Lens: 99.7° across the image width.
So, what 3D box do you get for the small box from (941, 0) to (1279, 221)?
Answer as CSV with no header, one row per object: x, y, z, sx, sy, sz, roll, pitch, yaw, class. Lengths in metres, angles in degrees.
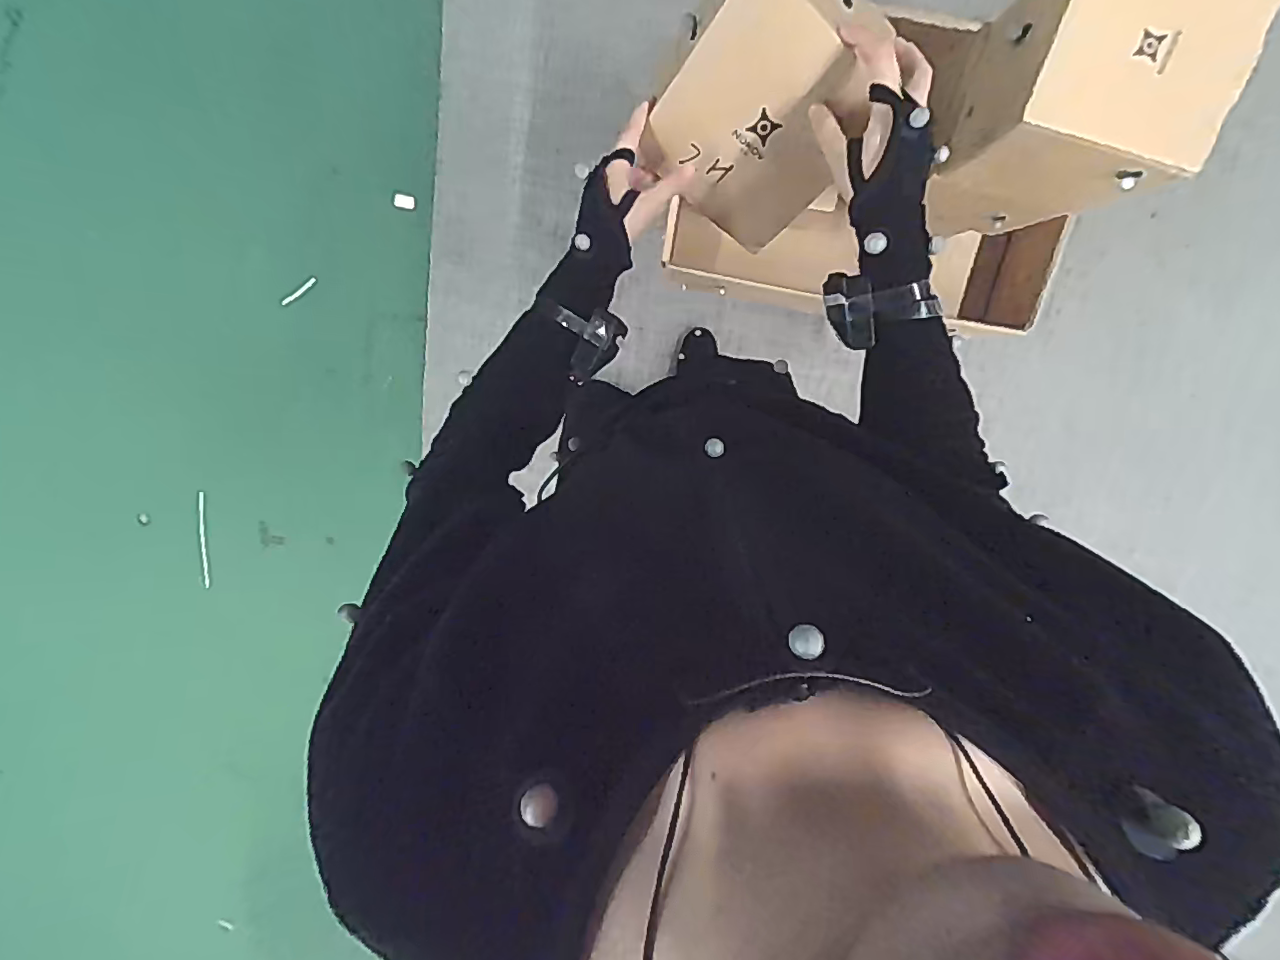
0.450,-0.384,0.552,0.179,0.176,0.168,16,105,-1,small box

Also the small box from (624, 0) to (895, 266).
0.110,-0.355,0.511,0.168,0.176,0.179,28,146,-22,small box

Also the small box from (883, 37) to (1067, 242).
0.456,-0.425,0.709,0.179,0.176,0.168,15,105,0,small box
